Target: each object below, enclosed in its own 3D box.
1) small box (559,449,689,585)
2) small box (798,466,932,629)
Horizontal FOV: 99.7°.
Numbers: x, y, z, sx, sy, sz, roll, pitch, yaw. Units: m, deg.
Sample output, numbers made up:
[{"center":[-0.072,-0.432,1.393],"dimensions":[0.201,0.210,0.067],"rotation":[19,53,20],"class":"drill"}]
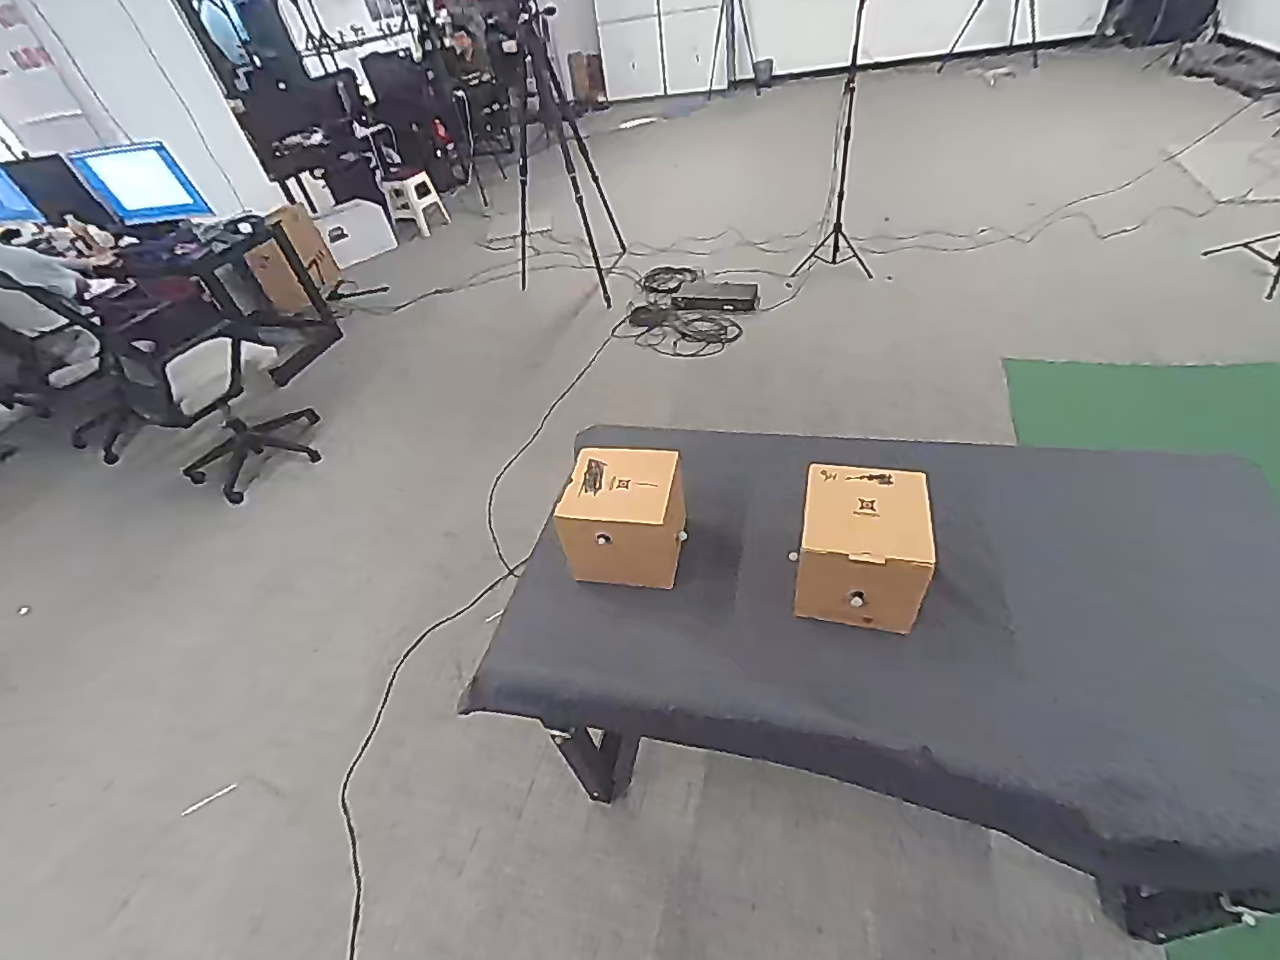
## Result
[{"center":[-0.018,0.064,0.932],"dimensions":[0.179,0.176,0.168],"rotation":[3,45,13],"class":"small box"},{"center":[0.334,0.102,0.823],"dimensions":[0.168,0.176,0.179],"rotation":[6,46,17],"class":"small box"}]
